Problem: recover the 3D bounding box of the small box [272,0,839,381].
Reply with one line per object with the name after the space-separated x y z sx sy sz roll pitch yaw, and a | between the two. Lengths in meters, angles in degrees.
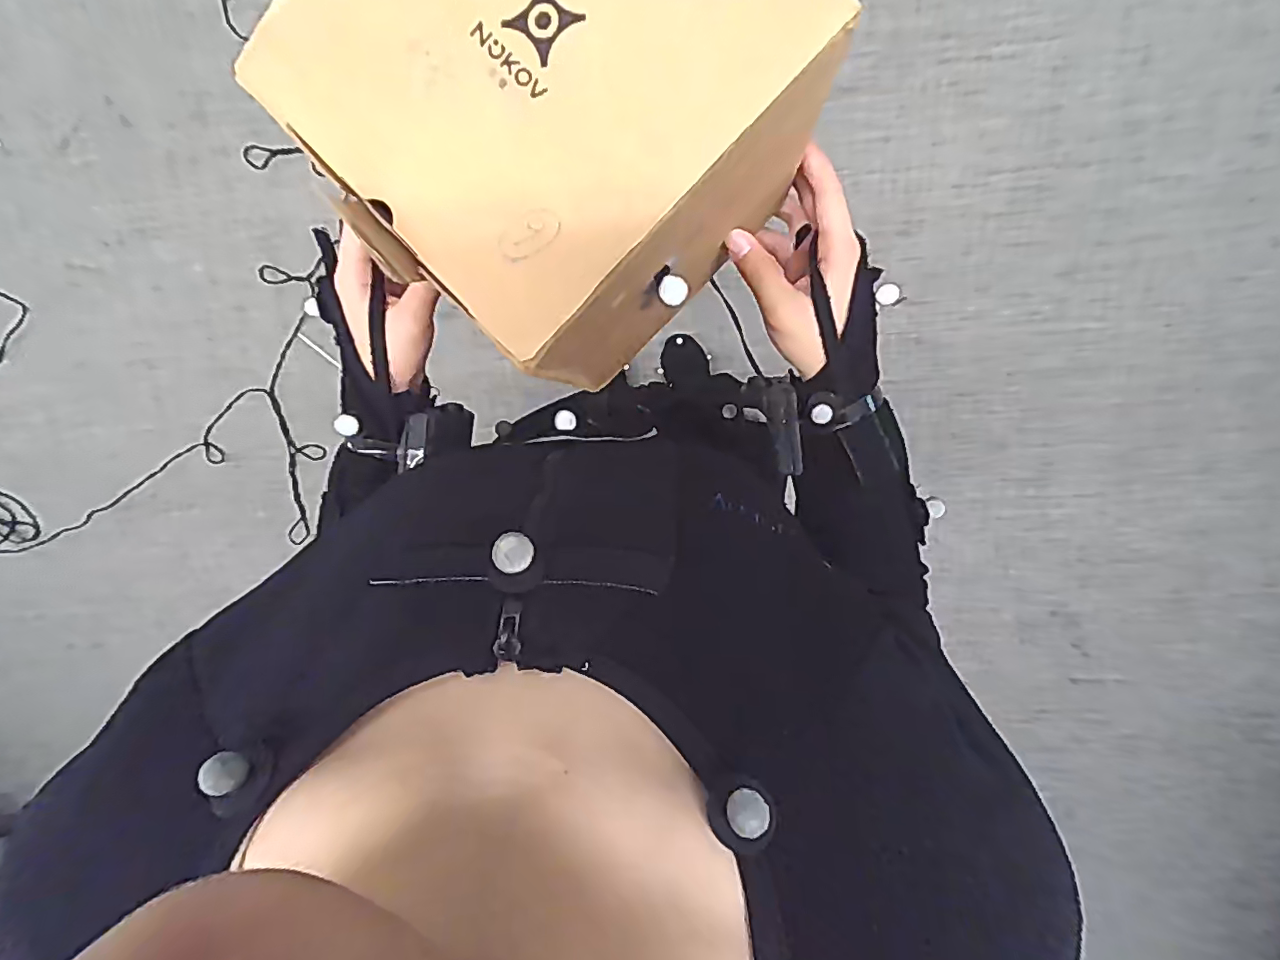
-0.031 -0.170 0.292 0.179 0.176 0.168 -45 91 9 | small box
